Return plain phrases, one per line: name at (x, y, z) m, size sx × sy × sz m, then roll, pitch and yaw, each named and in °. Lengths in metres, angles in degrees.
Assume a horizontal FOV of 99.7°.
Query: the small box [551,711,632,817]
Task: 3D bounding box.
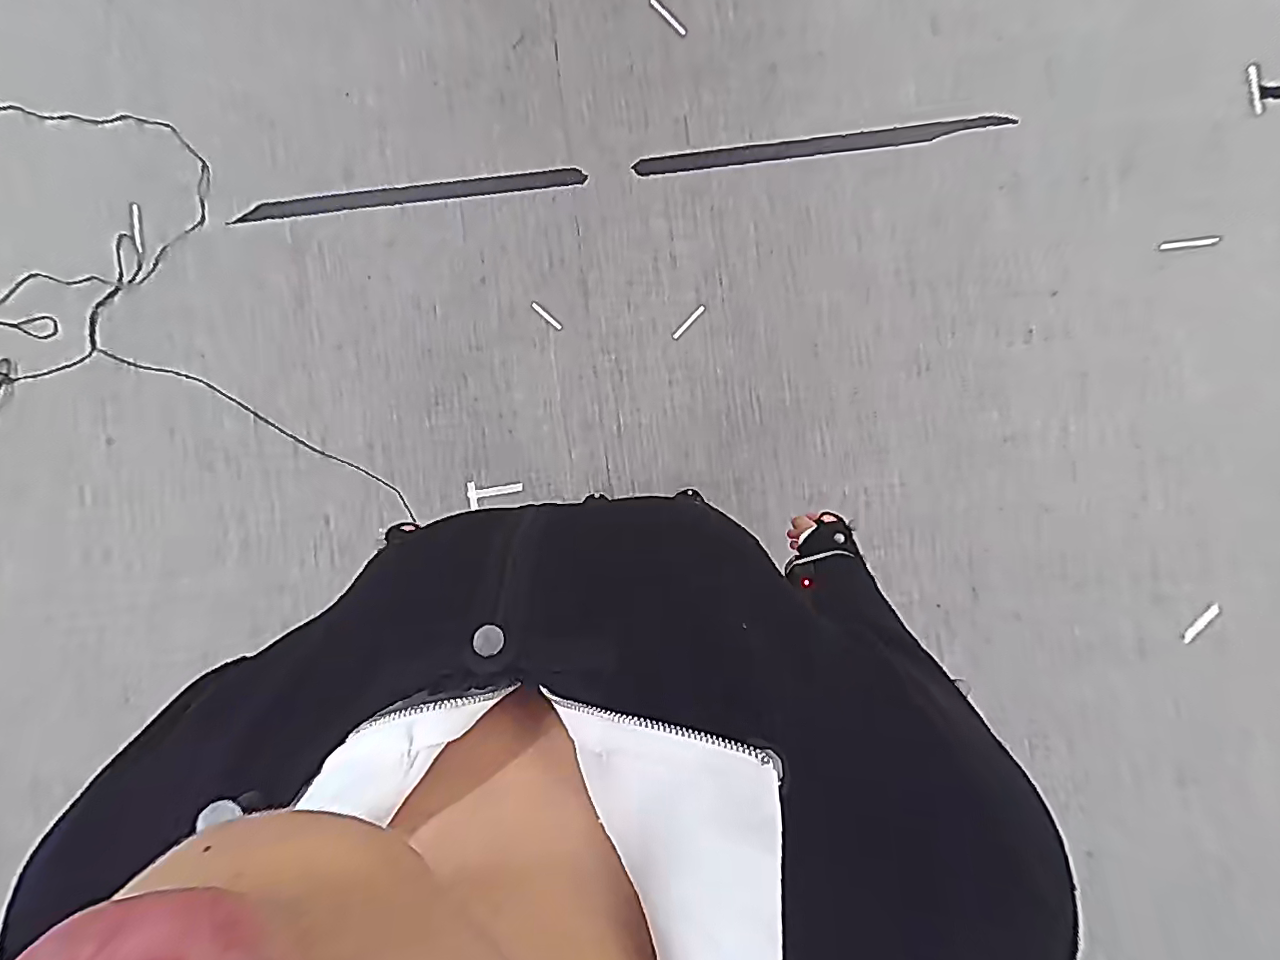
small box at (-0.112, 0.678, 1.315) m, size 0.168 × 0.176 × 0.179 m, roll -7°, pitch 89°, yaw 3°
